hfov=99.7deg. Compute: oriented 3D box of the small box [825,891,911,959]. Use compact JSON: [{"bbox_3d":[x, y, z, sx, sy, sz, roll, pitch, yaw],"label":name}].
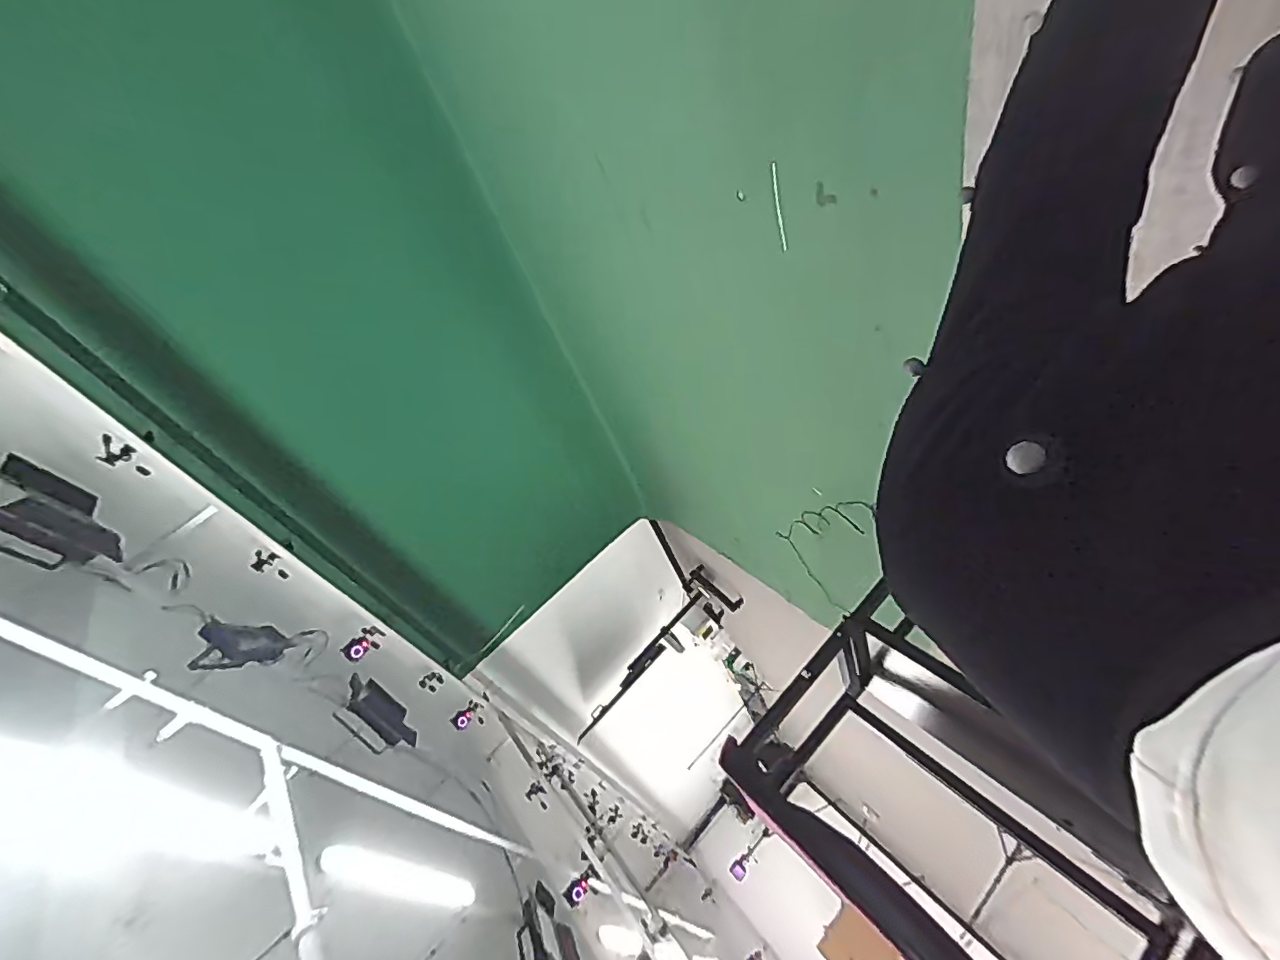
[{"bbox_3d":[0.680,1.371,1.600,0.179,0.176,0.168,33,159,44],"label":"small box"}]
